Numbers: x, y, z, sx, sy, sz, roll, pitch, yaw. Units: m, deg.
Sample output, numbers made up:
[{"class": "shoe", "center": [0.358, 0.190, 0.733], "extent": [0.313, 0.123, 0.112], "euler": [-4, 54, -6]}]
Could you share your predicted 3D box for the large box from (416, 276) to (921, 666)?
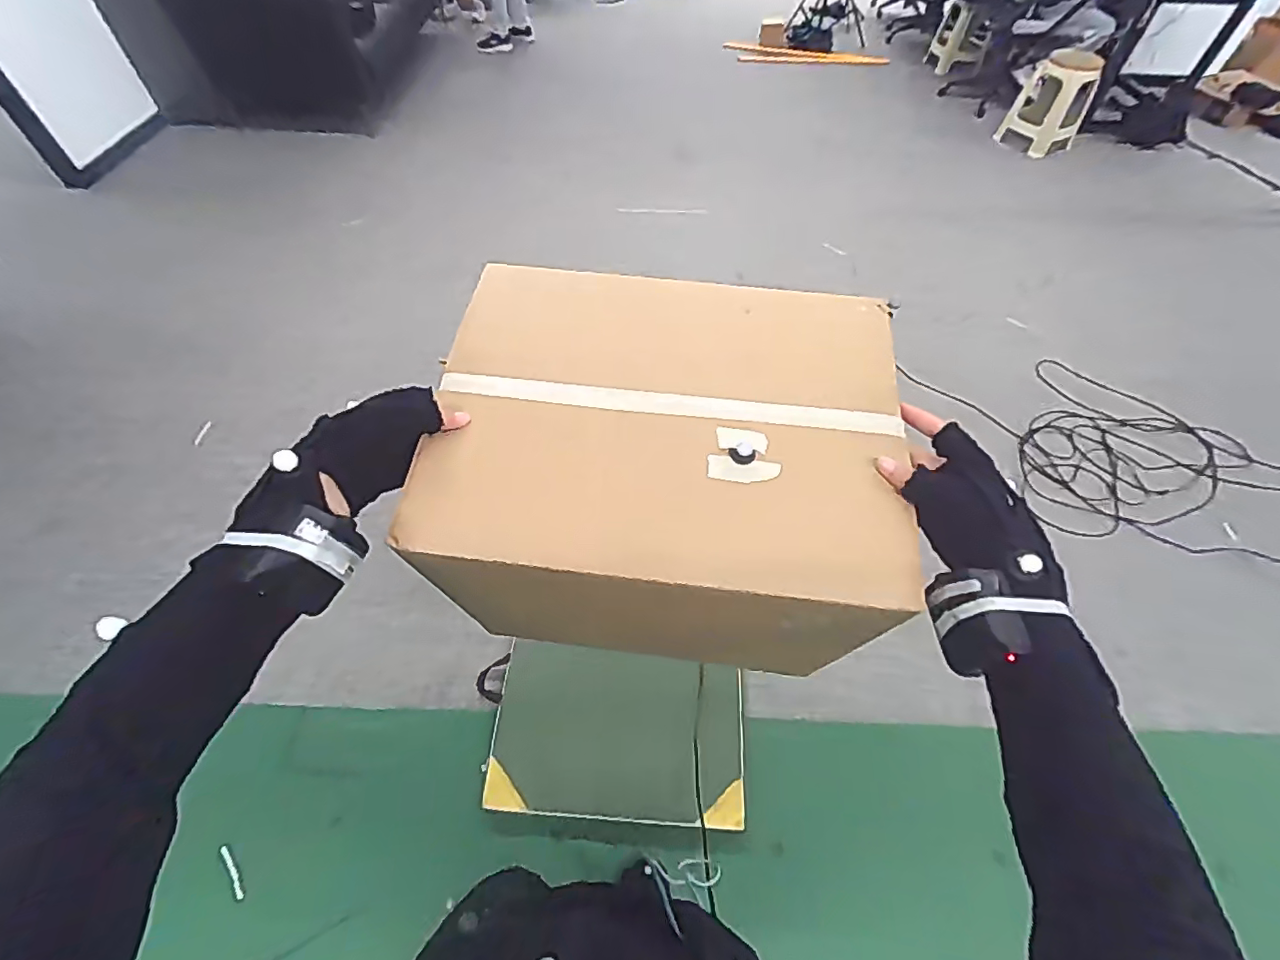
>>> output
[{"class": "large box", "center": [0.030, 0.009, 0.617], "extent": [0.408, 0.320, 0.320], "euler": [7, 63, 2]}]
